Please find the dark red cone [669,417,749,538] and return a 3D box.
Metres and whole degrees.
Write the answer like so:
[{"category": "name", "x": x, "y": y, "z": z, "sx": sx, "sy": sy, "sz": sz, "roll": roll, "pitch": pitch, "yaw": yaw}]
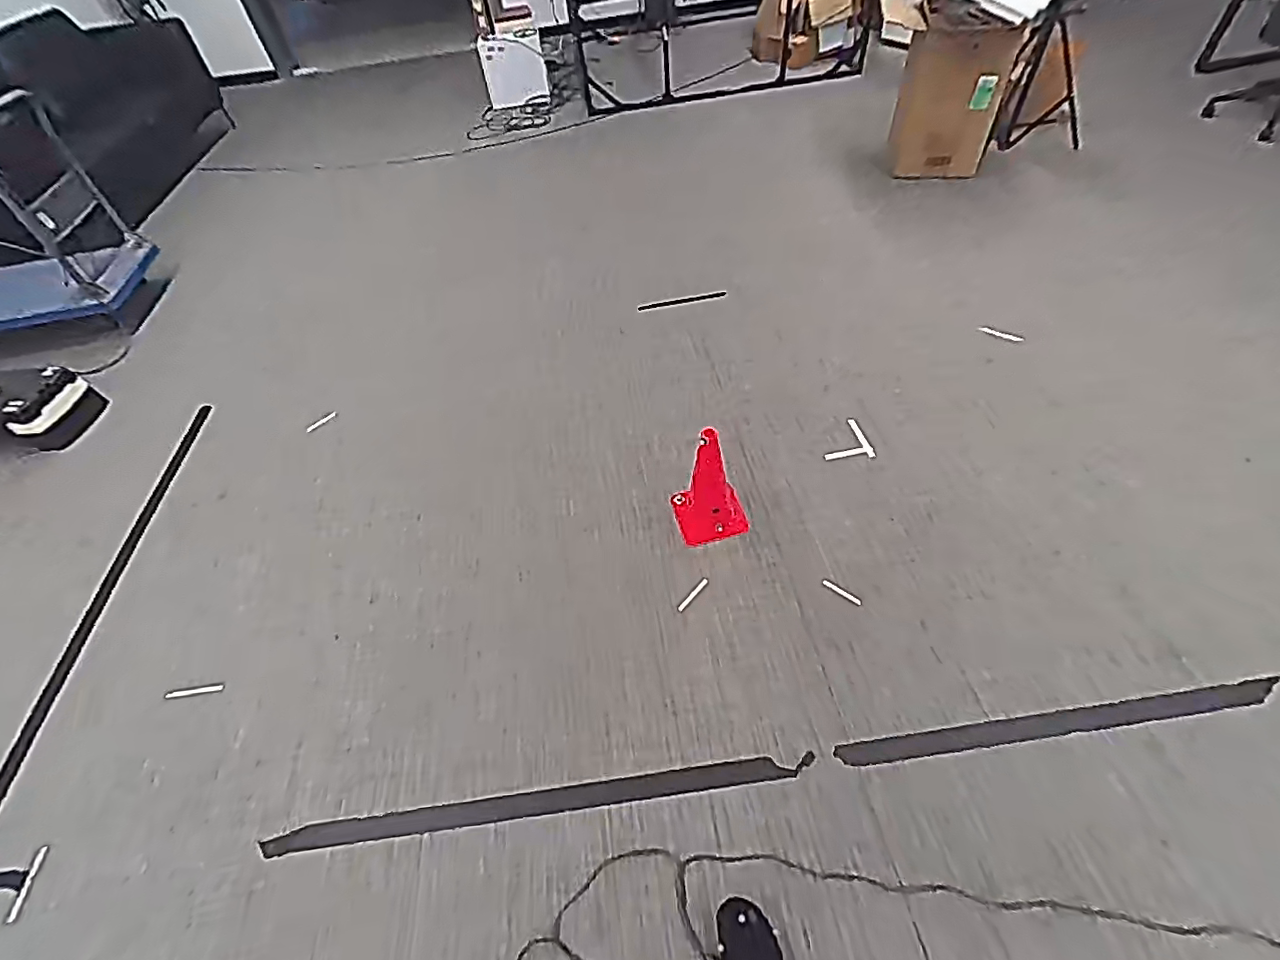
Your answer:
[{"category": "dark red cone", "x": 0.187, "y": -0.024, "z": 1.487, "sx": 0.202, "sy": 0.394, "sz": 0.201, "roll": -15, "pitch": 52, "yaw": -5}]
